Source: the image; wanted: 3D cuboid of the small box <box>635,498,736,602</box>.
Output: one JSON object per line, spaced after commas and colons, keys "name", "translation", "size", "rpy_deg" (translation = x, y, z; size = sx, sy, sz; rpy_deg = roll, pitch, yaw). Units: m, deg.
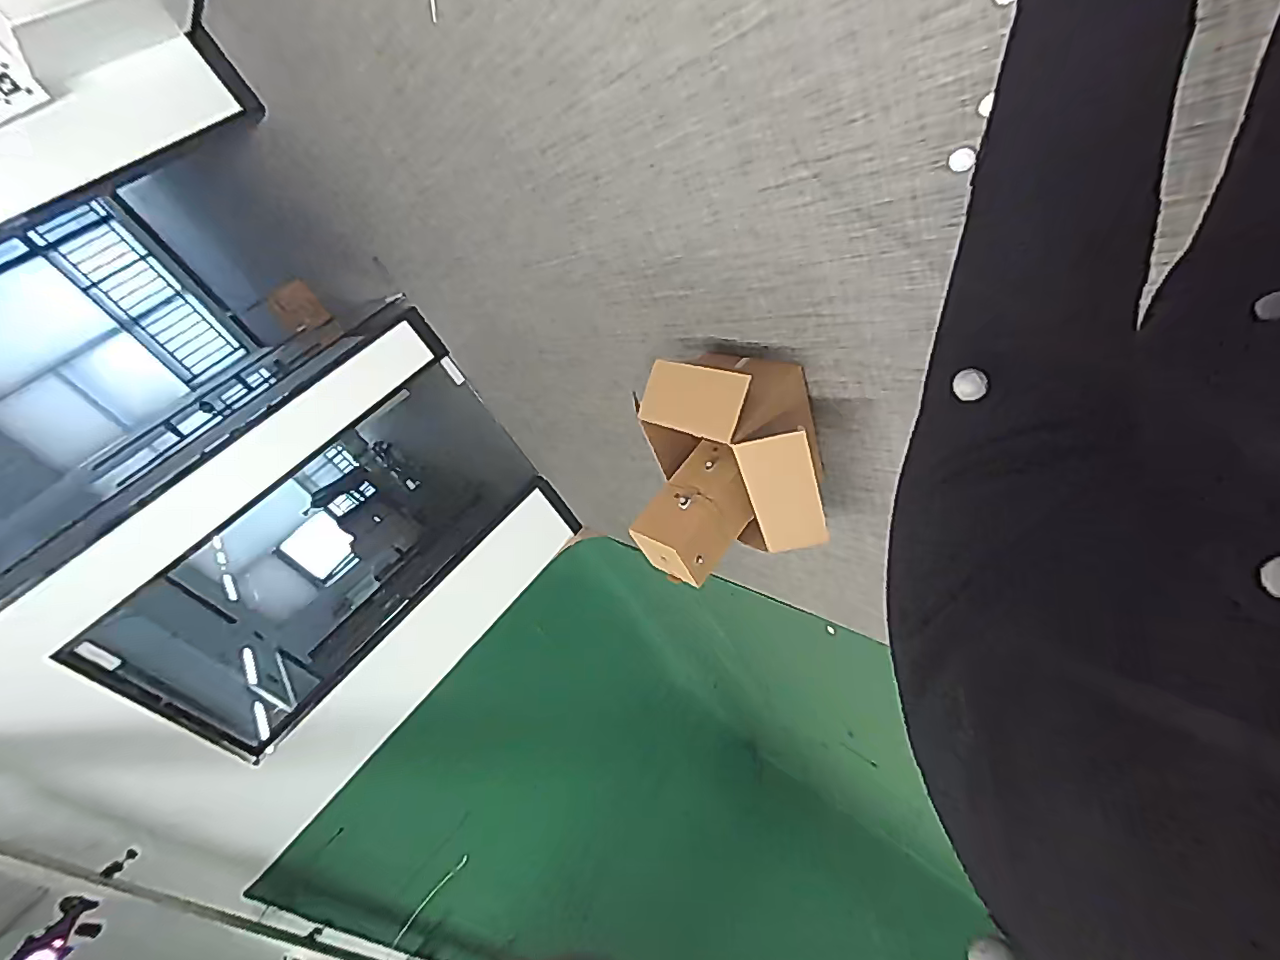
{"name": "small box", "translation": [0.123, 0.176, 1.389], "size": [0.168, 0.176, 0.179], "rpy_deg": [17, 148, 42]}
